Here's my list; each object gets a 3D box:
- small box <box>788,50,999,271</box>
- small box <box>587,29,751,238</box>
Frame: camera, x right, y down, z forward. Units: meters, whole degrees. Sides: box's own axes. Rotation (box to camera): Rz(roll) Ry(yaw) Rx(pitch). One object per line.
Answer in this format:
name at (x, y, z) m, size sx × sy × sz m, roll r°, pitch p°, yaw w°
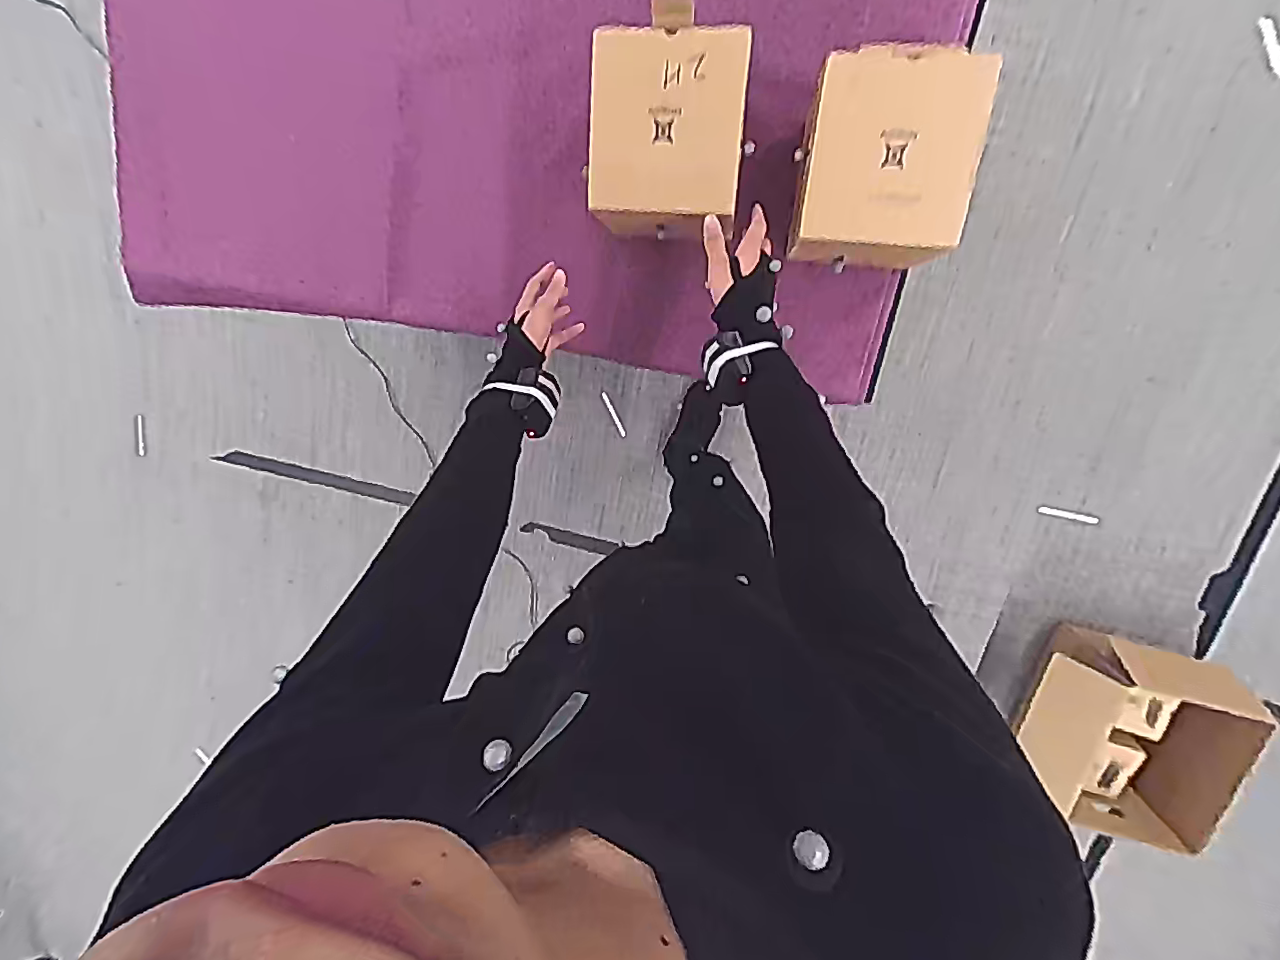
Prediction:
small box at (0.273, -0.354, 0.630) m, size 0.168 × 0.176 × 0.179 m, roll 8°, pitch 105°, yaw 8°
small box at (0.039, -0.400, 0.654) m, size 0.168 × 0.176 × 0.179 m, roll 6°, pitch 105°, yaw 7°
